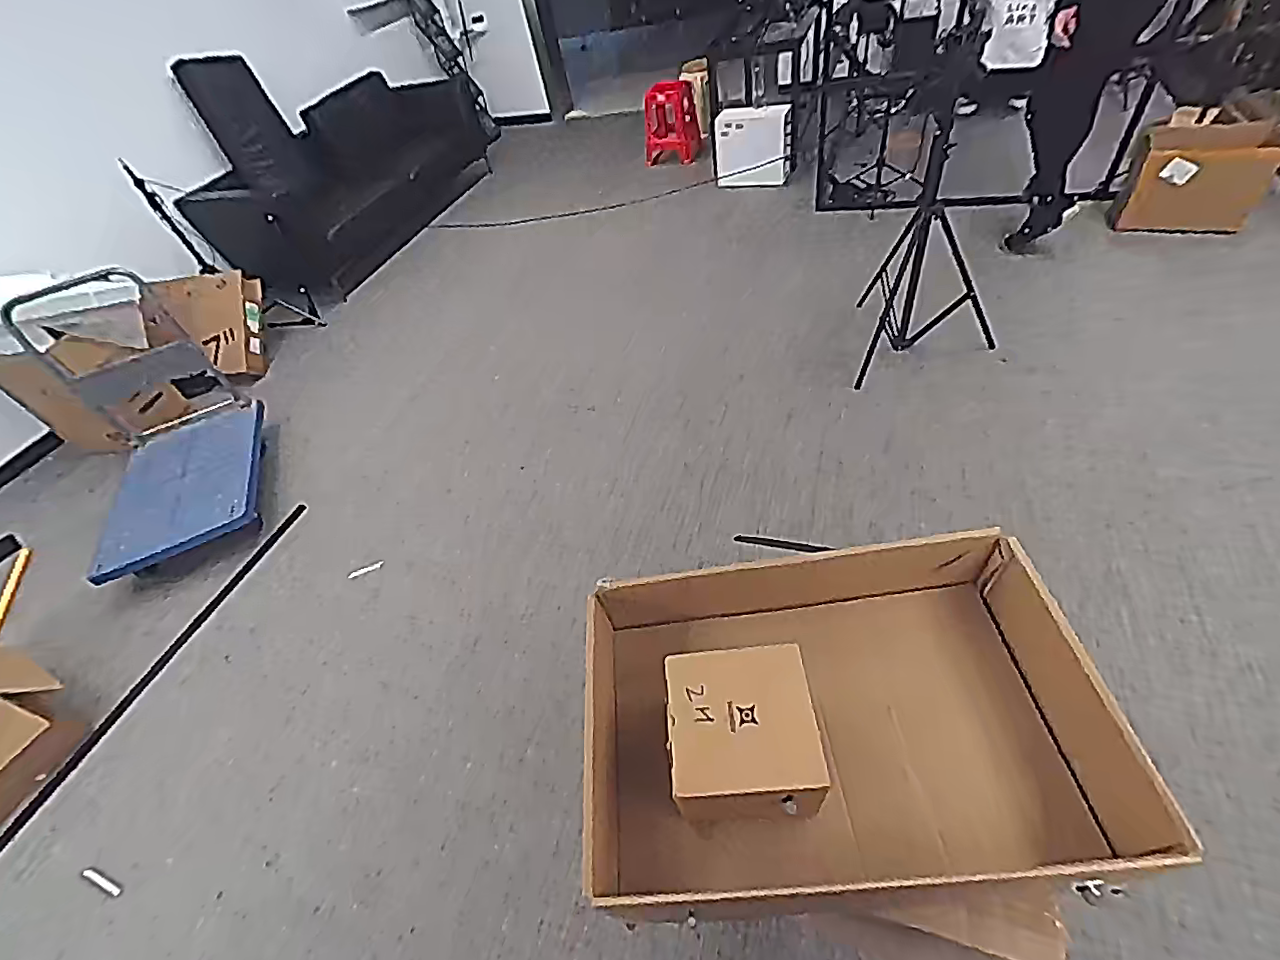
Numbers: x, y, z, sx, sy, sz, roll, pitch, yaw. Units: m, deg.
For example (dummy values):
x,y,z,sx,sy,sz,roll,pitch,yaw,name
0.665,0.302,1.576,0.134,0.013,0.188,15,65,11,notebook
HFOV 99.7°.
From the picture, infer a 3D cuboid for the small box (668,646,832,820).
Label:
x,y,z,sx,sy,sz,roll,pitch,yaw,name
0.136,0.334,0.708,0.179,0.176,0.168,-8,48,7,small box
